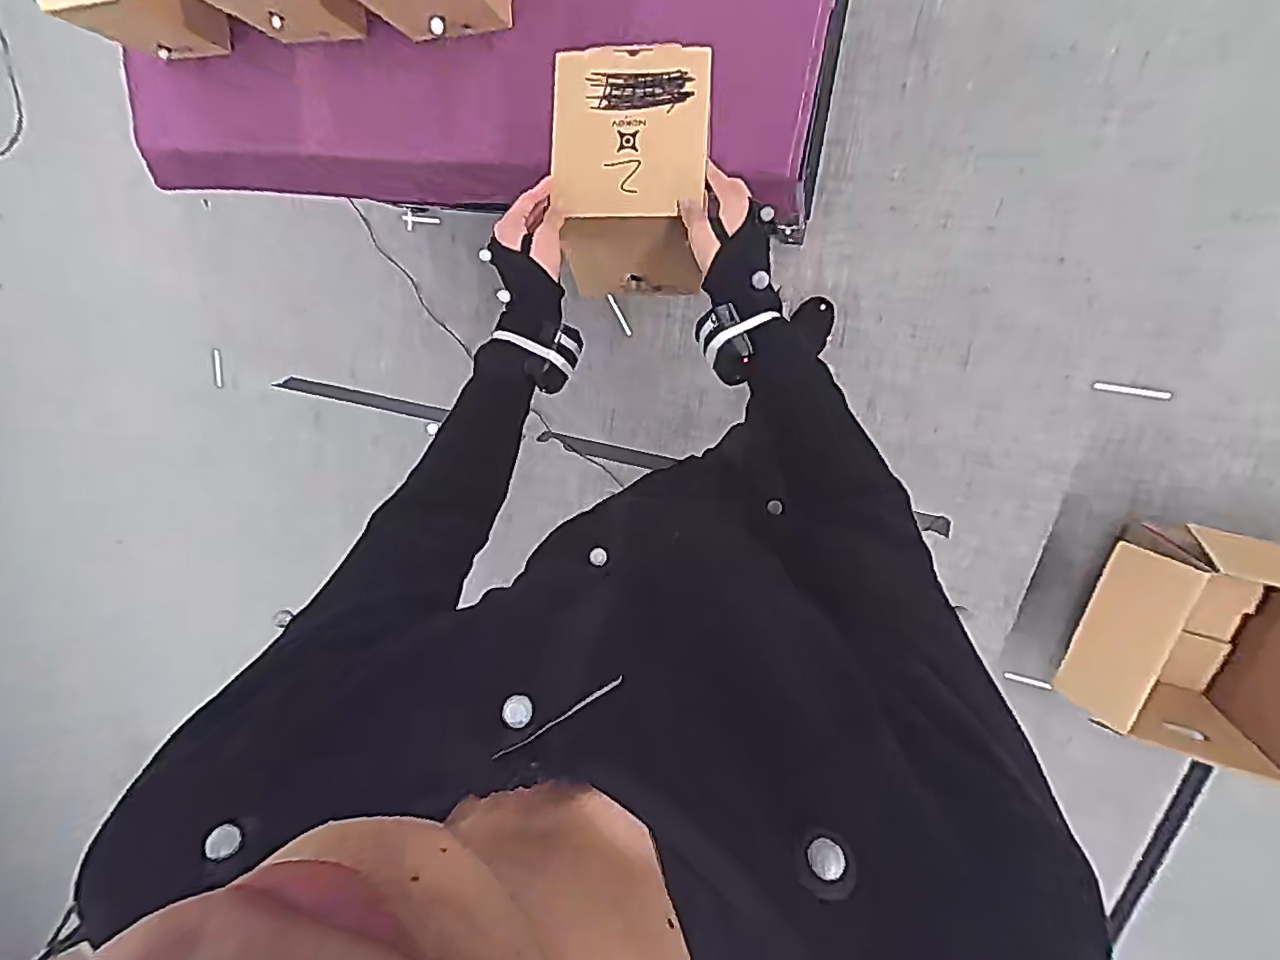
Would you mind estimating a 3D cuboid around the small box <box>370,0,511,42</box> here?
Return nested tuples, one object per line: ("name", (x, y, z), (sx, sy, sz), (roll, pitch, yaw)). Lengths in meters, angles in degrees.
("small box", (-0.278, -0.705, 0.687), (0.168, 0.176, 0.179), (7, 108, 16))

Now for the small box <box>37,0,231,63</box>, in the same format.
("small box", (-0.772, -0.777, 0.822), (0.168, 0.176, 0.179), (8, 107, 16))

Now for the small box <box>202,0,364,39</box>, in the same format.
("small box", (-0.509, -0.745, 0.748), (0.168, 0.176, 0.179), (10, 108, 14))
